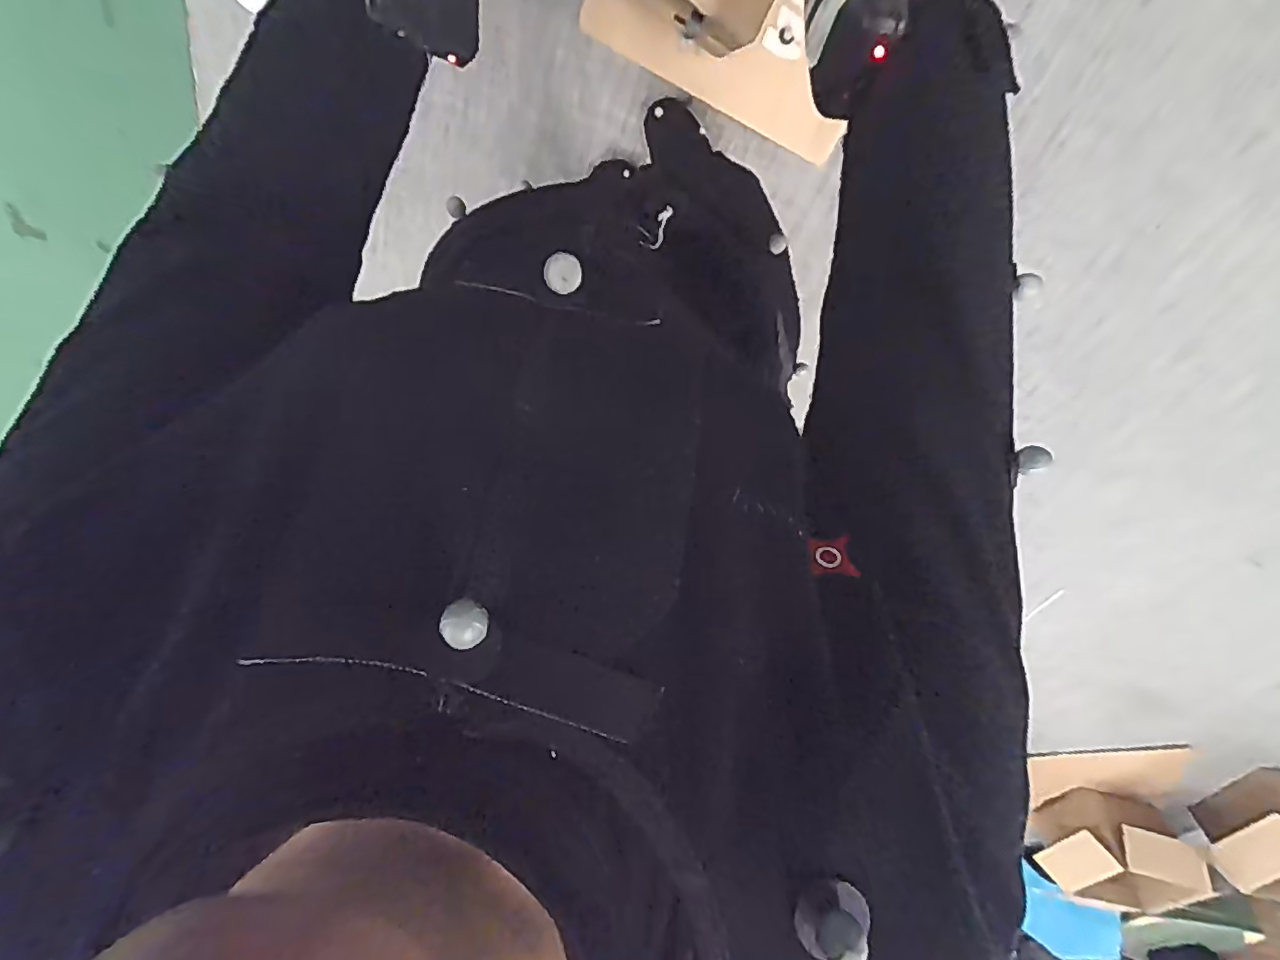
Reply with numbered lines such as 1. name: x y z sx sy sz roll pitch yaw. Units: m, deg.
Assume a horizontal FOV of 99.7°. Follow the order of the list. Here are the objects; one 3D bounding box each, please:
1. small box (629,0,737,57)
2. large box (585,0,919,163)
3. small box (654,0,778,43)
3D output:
1. small box: 0.054 -0.520 0.487 0.168 0.176 0.179 23 124 -14
2. large box: 0.169 -0.746 0.814 0.408 0.320 0.320 21 127 -11
3. small box: 0.042 -0.425 0.357 0.179 0.176 0.168 25 125 -15
